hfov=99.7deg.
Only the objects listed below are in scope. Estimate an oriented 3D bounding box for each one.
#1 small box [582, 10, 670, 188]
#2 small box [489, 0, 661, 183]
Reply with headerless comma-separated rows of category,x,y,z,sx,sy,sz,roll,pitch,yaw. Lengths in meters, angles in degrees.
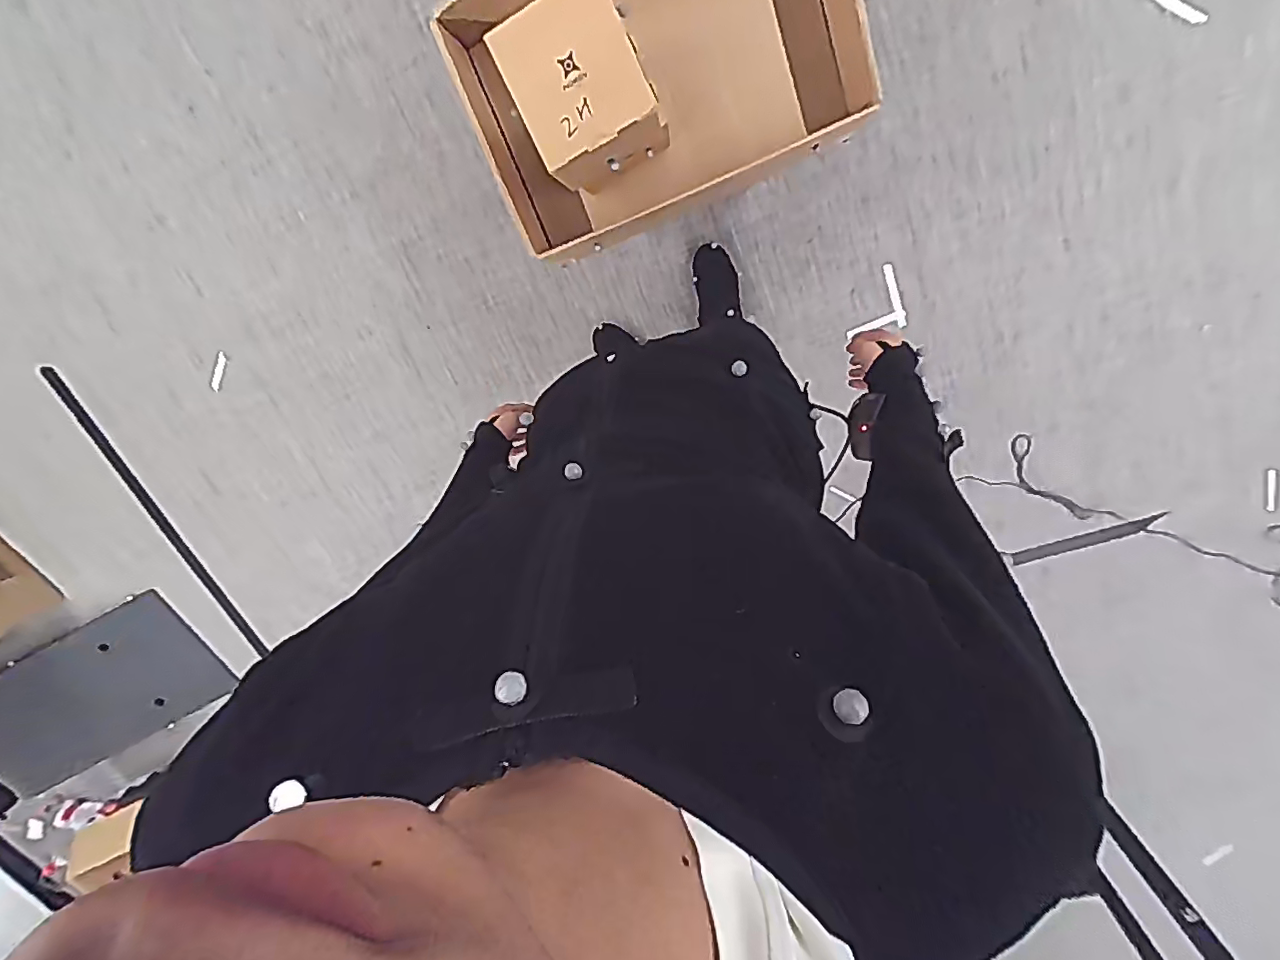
small box,-0.061,-0.622,0.909,0.179,0.176,0.168,-25,108,14
small box,-0.079,-0.551,0.762,0.168,0.176,0.179,-24,108,13
